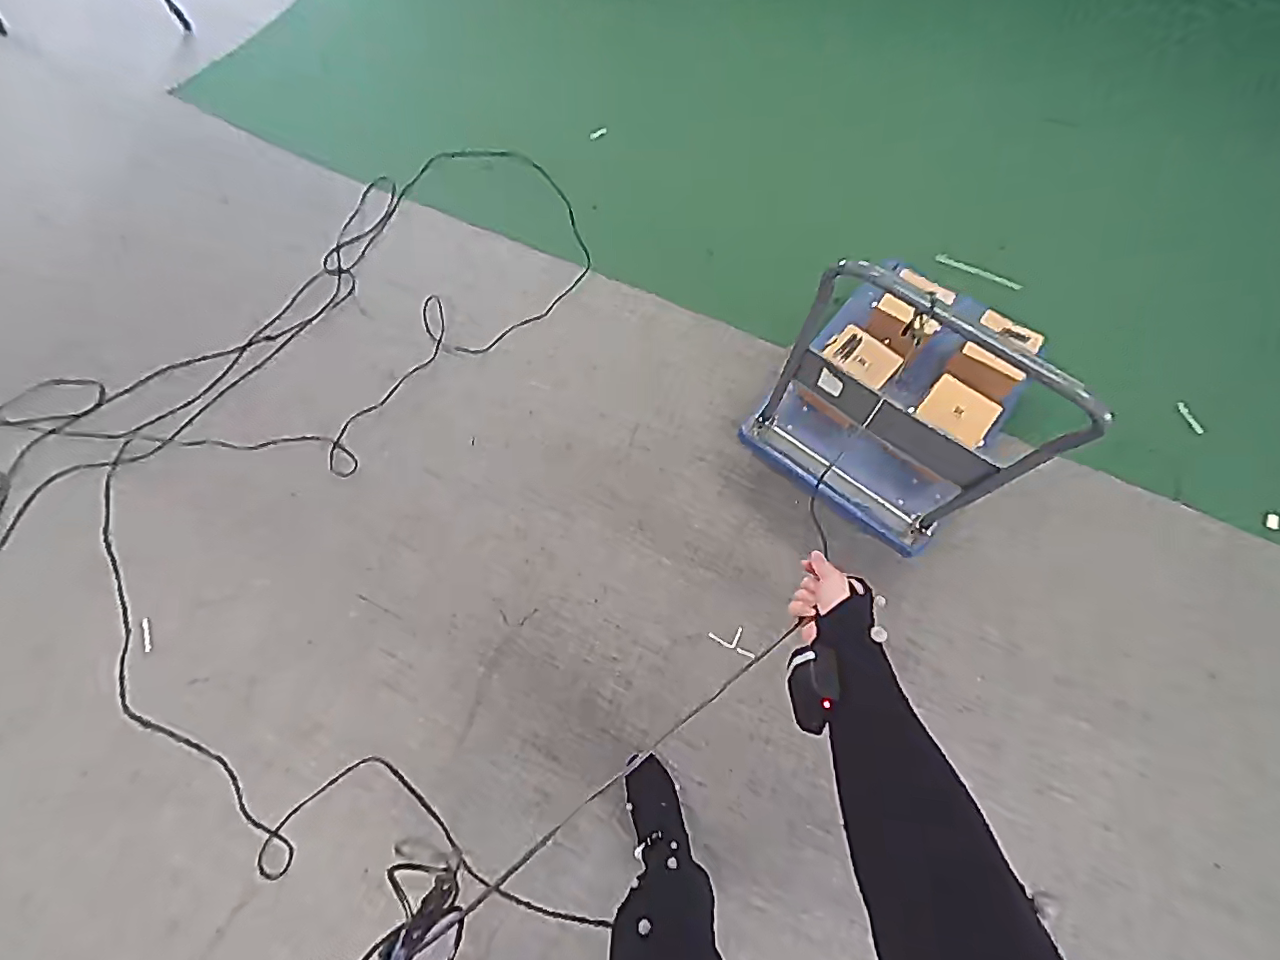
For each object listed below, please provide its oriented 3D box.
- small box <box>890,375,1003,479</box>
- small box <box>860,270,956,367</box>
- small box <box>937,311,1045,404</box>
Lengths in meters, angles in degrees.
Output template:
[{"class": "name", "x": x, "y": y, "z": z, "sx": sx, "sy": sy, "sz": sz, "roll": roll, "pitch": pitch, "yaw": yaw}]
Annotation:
[{"class": "small box", "x": 0.800, "y": -0.136, "z": 1.430, "sx": 0.168, "sy": 0.176, "sz": 0.179, "roll": 38, "pitch": 72, "yaw": 15}, {"class": "small box", "x": 0.768, "y": -0.463, "z": 1.569, "sx": 0.168, "sy": 0.176, "sz": 0.179, "roll": 34, "pitch": 70, "yaw": 13}, {"class": "small box", "x": 0.972, "y": -0.328, "z": 1.512, "sx": 0.168, "sy": 0.176, "sz": 0.179, "roll": 33, "pitch": 71, "yaw": 14}]
